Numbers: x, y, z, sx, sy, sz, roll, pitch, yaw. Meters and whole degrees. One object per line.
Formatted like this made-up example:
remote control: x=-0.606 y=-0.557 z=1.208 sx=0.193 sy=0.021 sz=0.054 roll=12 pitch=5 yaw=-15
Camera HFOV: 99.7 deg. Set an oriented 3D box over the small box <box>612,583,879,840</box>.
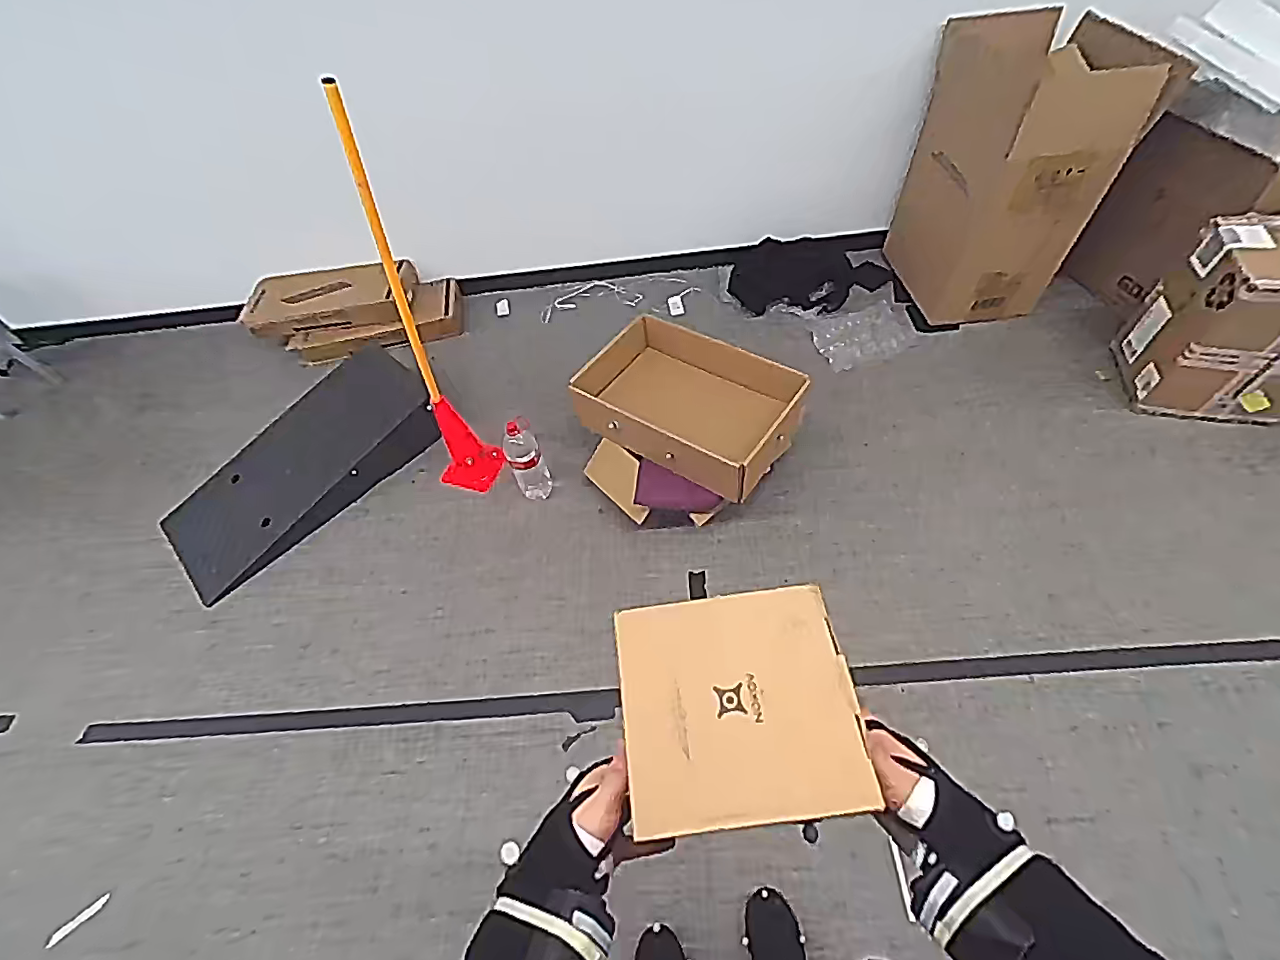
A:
small box: x=0.079 y=0.210 z=0.480 sx=0.179 sy=0.176 sz=0.168 roll=-10 pitch=55 yaw=2
